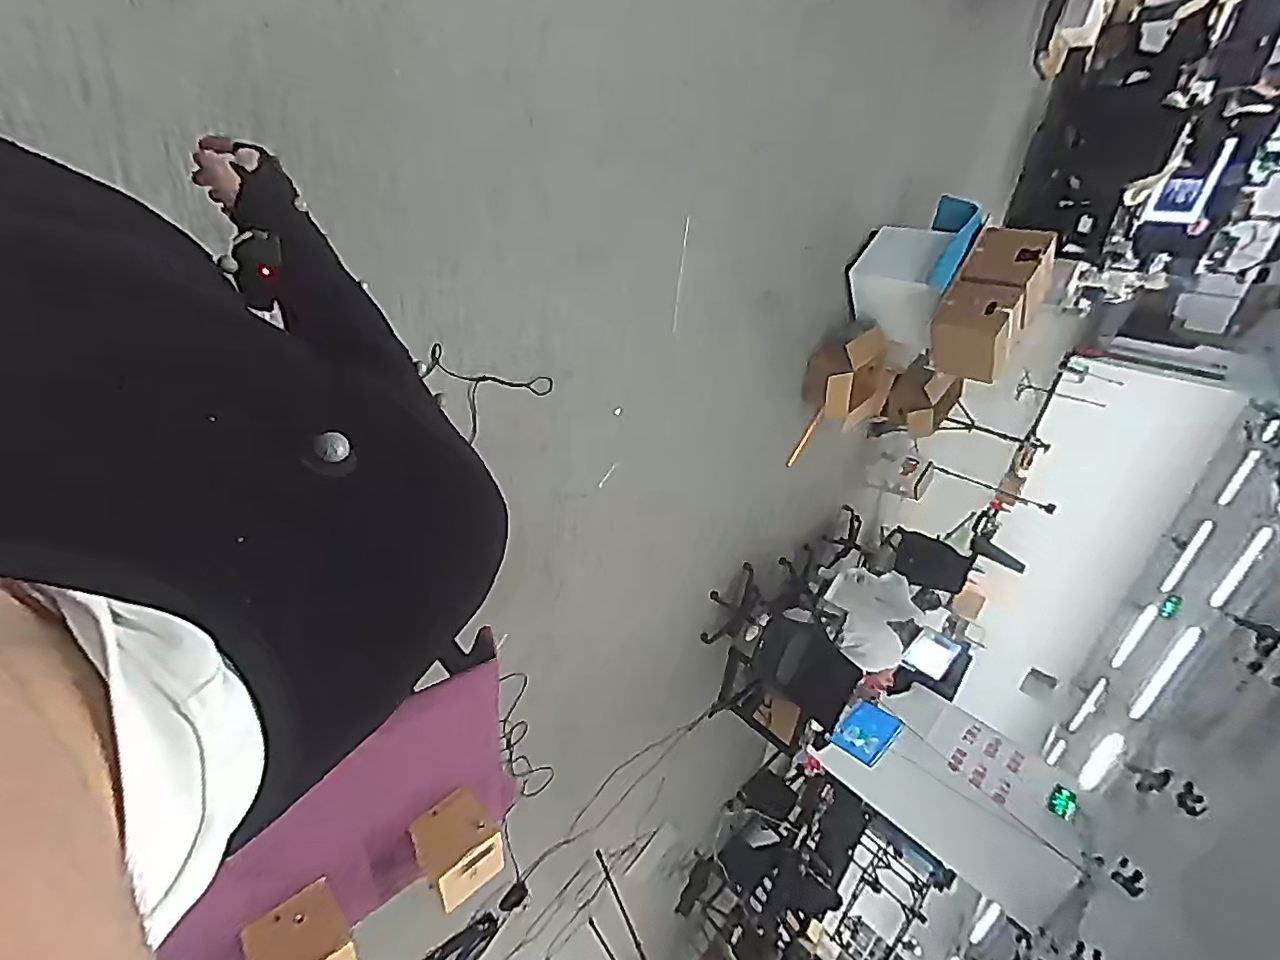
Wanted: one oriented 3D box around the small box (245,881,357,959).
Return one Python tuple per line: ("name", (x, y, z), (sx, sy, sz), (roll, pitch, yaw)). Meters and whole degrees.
("small box", (-0.729, 1.033, 1.175), (0.168, 0.176, 0.179), (-19, 125, -40))
